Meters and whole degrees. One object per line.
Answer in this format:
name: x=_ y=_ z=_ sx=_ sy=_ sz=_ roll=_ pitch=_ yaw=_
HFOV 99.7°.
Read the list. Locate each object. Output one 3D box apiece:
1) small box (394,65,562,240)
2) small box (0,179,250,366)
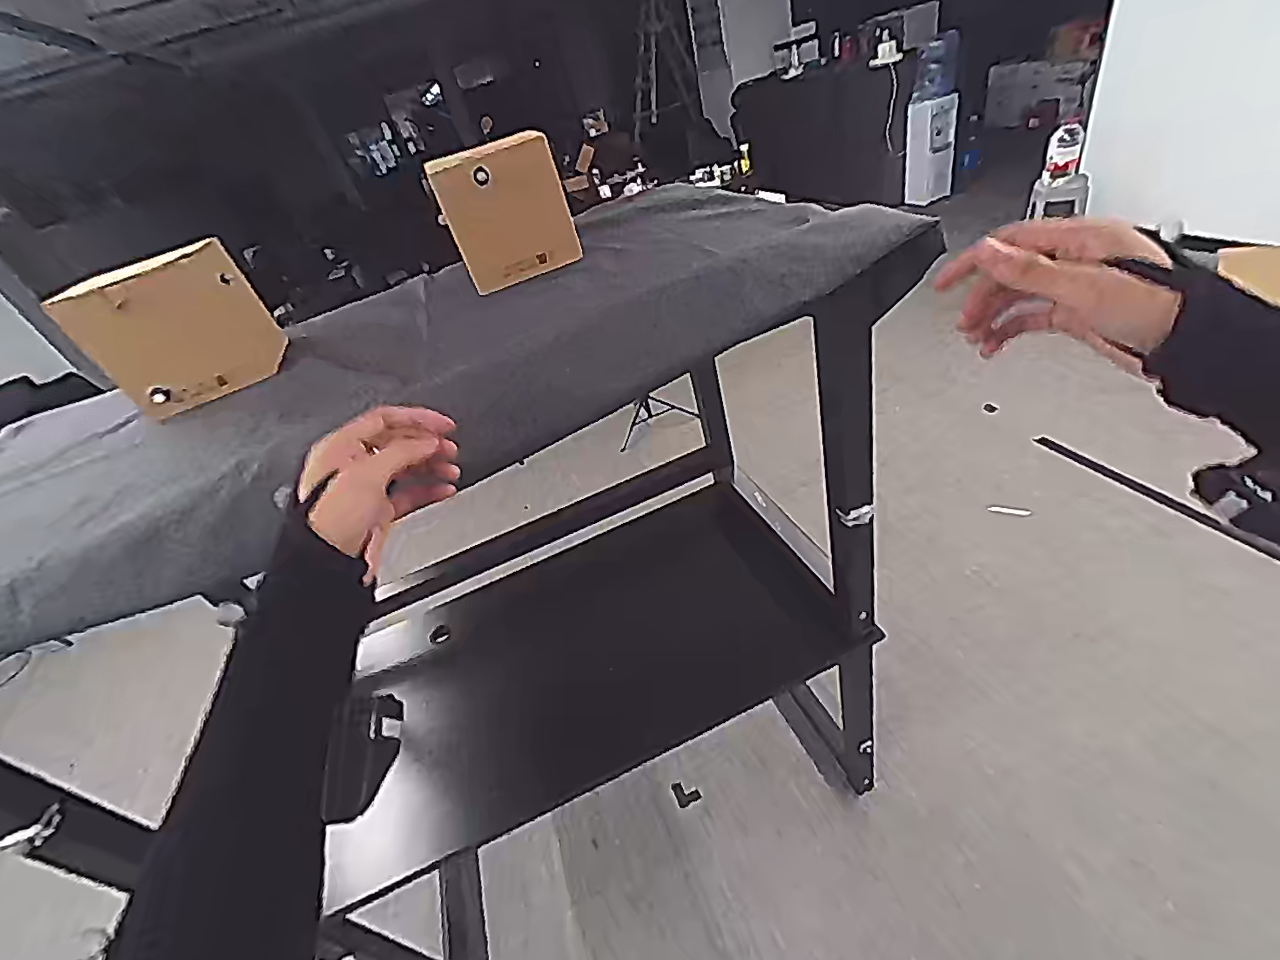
small box: x=-0.227 y=-0.462 z=0.773 sx=0.168 sy=0.176 sz=0.179 roll=-24 pitch=38 yaw=-7
small box: x=-0.653 y=-0.269 z=0.706 sx=0.168 sy=0.176 sz=0.179 roll=-26 pitch=38 yaw=-11
